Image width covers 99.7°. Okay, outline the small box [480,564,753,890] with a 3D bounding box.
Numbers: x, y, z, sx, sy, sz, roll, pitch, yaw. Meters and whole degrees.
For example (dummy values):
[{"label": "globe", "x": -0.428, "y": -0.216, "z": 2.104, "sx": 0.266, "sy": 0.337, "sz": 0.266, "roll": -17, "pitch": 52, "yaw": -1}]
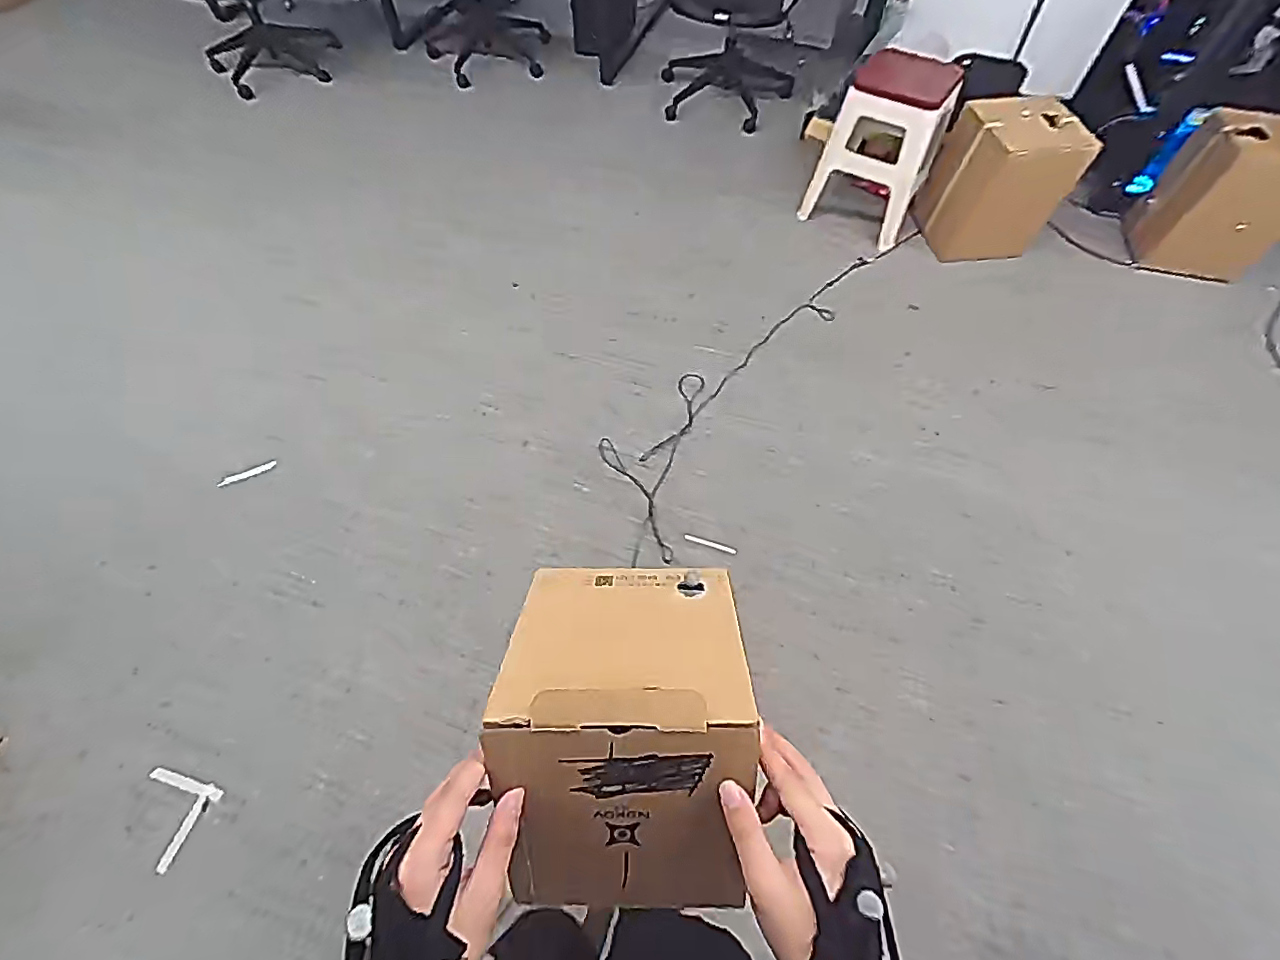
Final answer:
[{"label": "small box", "x": -0.013, "y": 0.178, "z": 0.425, "sx": 0.168, "sy": 0.179, "sz": 0.176, "roll": -1, "pitch": 24, "yaw": 1}]
